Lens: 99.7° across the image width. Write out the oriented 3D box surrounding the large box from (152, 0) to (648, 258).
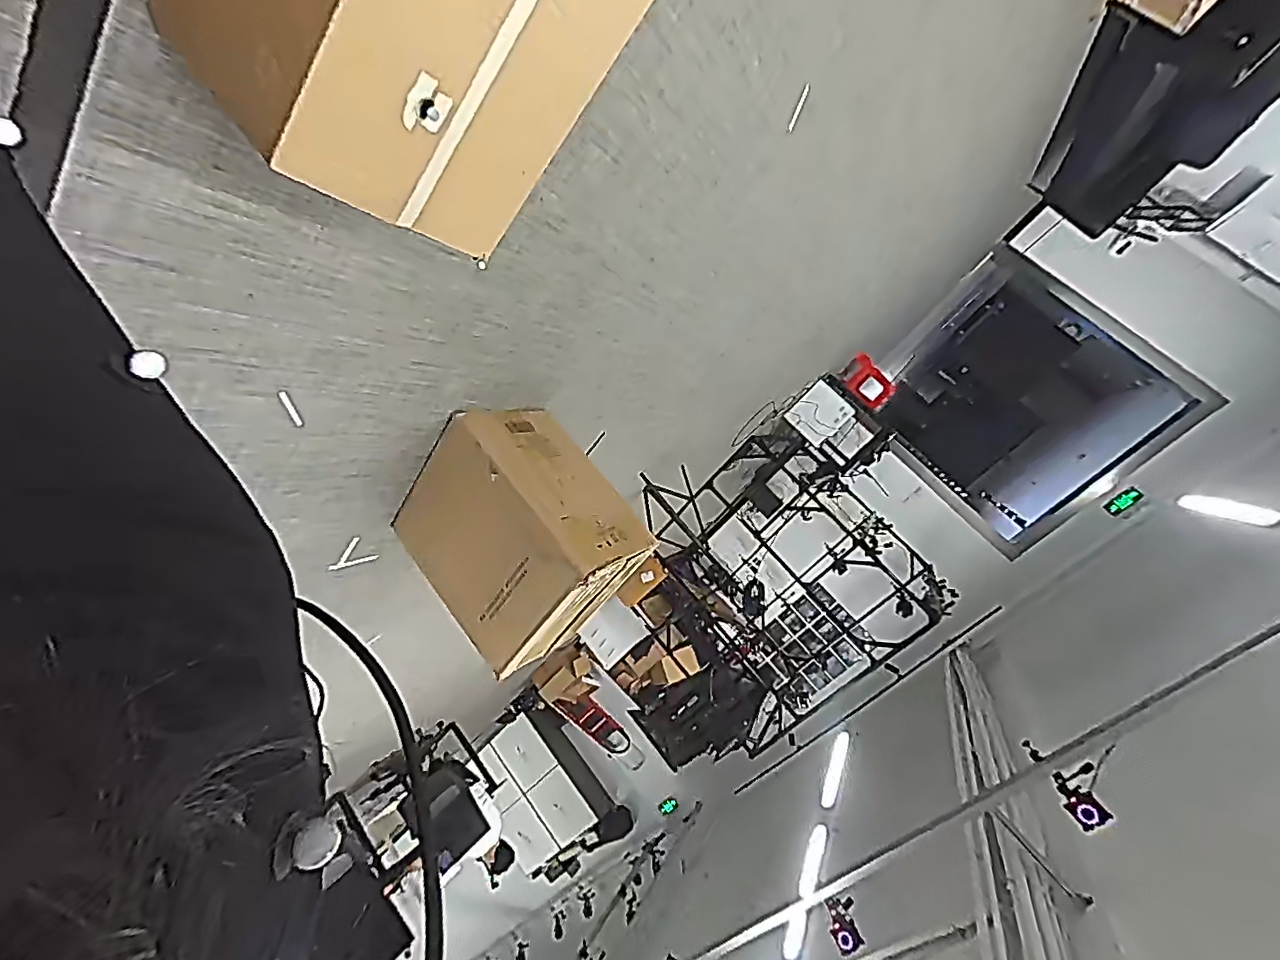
[{"bbox_3d":[-0.271,-0.564,0.638,0.408,0.320,0.320,-46,164,20],"label":"large box"}]
